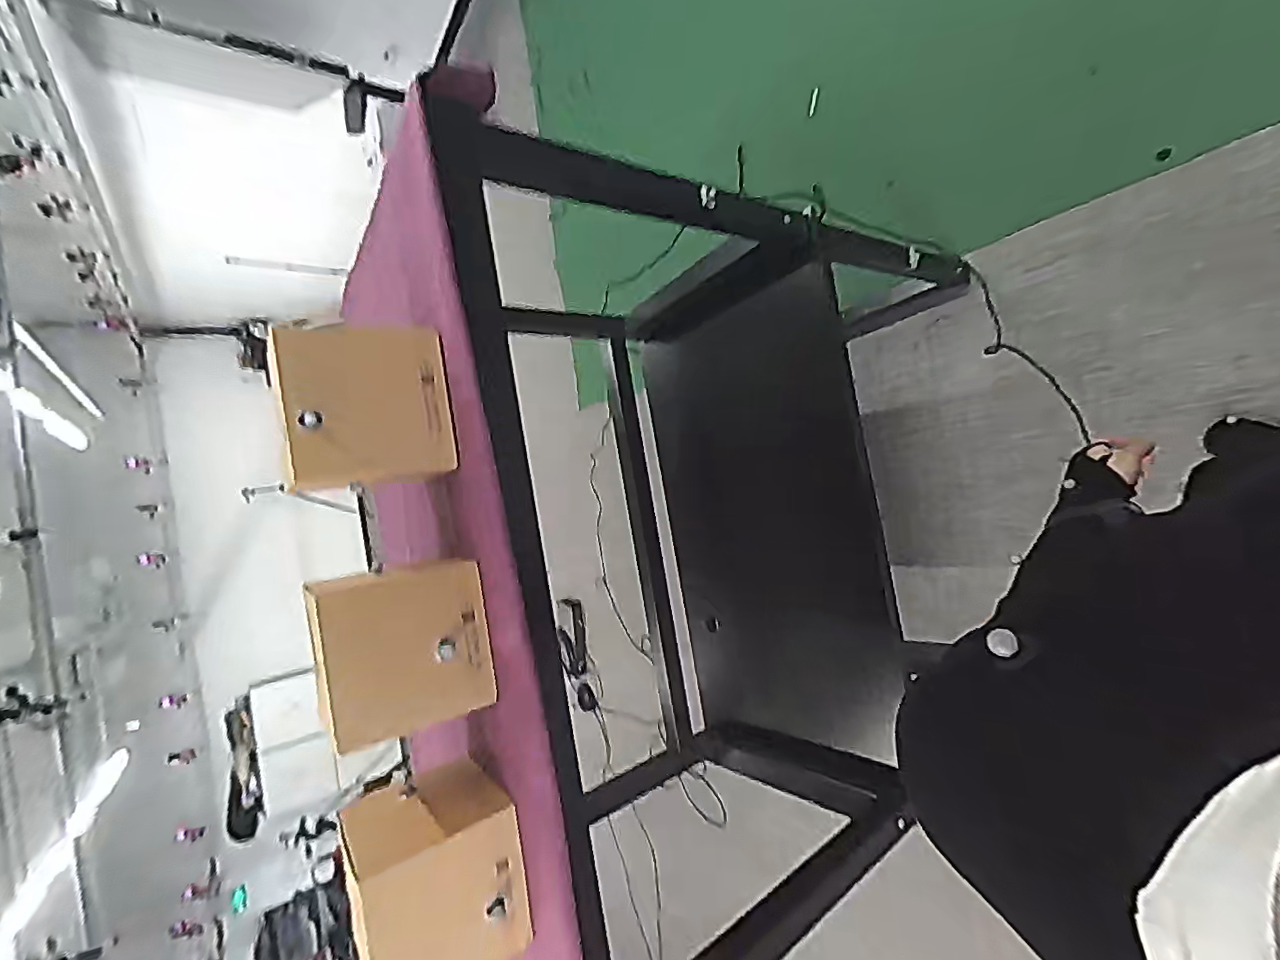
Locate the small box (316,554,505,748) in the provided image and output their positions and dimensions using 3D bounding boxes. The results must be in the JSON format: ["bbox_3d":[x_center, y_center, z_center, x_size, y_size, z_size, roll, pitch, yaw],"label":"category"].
[{"bbox_3d":[-0.279,0.187,0.655,0.179,0.176,0.168,-10,89,54],"label":"small box"}]

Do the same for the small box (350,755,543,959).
[{"bbox_3d":[-0.234,0.461,0.648,0.179,0.176,0.168,-7,91,54],"label":"small box"}]

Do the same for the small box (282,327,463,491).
[{"bbox_3d":[-0.331,-0.081,0.670,0.179,0.176,0.168,-9,90,56],"label":"small box"}]
